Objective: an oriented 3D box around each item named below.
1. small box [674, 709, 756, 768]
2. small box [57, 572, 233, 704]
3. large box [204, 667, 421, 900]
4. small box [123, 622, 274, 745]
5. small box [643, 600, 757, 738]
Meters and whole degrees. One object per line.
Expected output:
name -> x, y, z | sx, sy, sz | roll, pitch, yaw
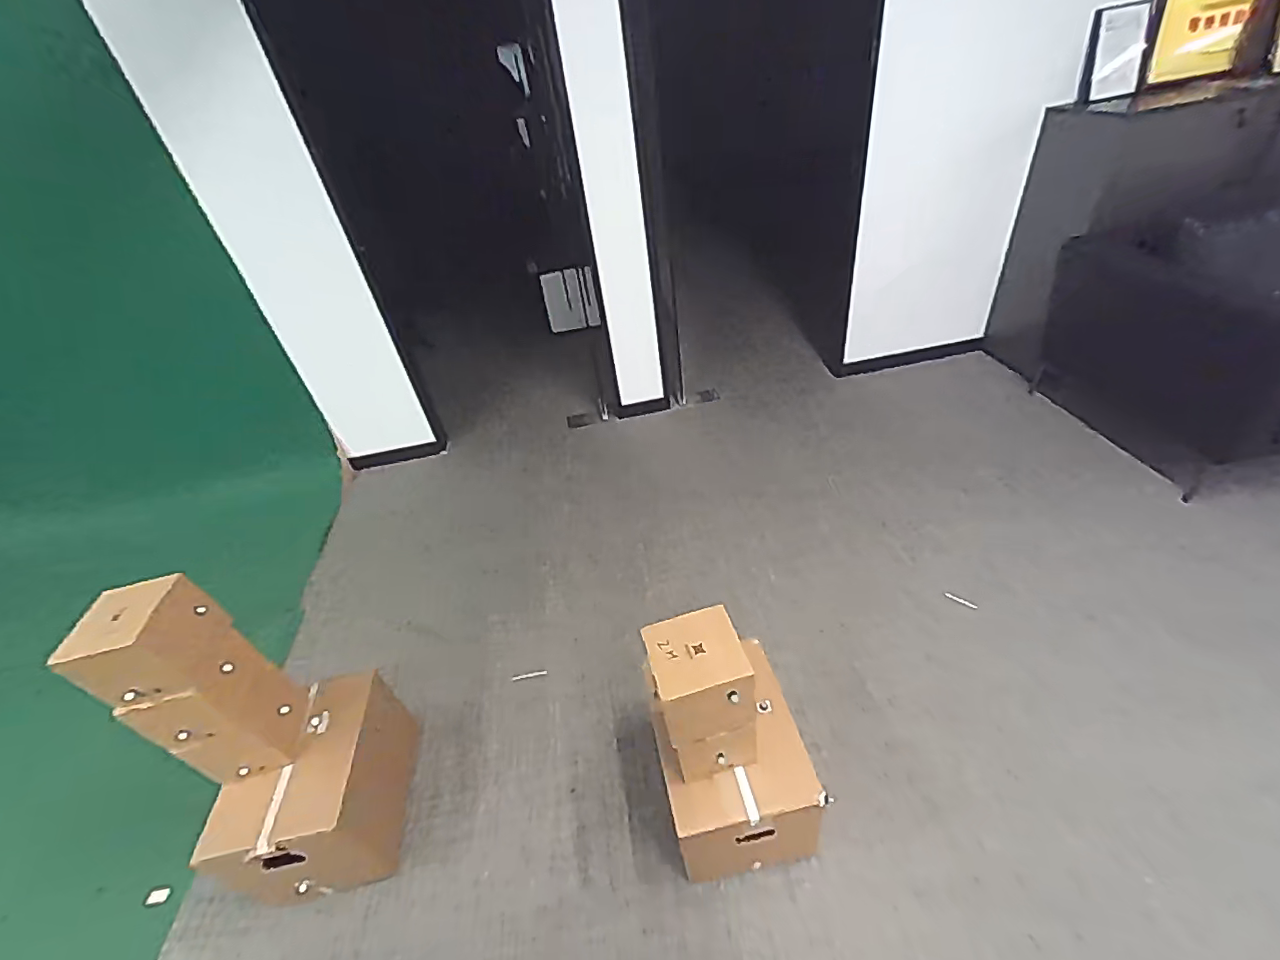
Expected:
small box -> 0.144, 0.494, 1.166 | 0.168, 0.176, 0.179 | -16, 40, -4
small box -> -0.981, 0.321, 1.097 | 0.168, 0.176, 0.179 | -14, 40, 1
large box -> -0.803, 0.777, 1.409 | 0.320, 0.320, 0.408 | -13, 38, -2
small box -> -0.954, 0.449, 1.194 | 0.168, 0.176, 0.179 | -15, 40, -1
small box -> 0.118, 0.370, 1.059 | 0.179, 0.176, 0.168 | -16, 38, -4
